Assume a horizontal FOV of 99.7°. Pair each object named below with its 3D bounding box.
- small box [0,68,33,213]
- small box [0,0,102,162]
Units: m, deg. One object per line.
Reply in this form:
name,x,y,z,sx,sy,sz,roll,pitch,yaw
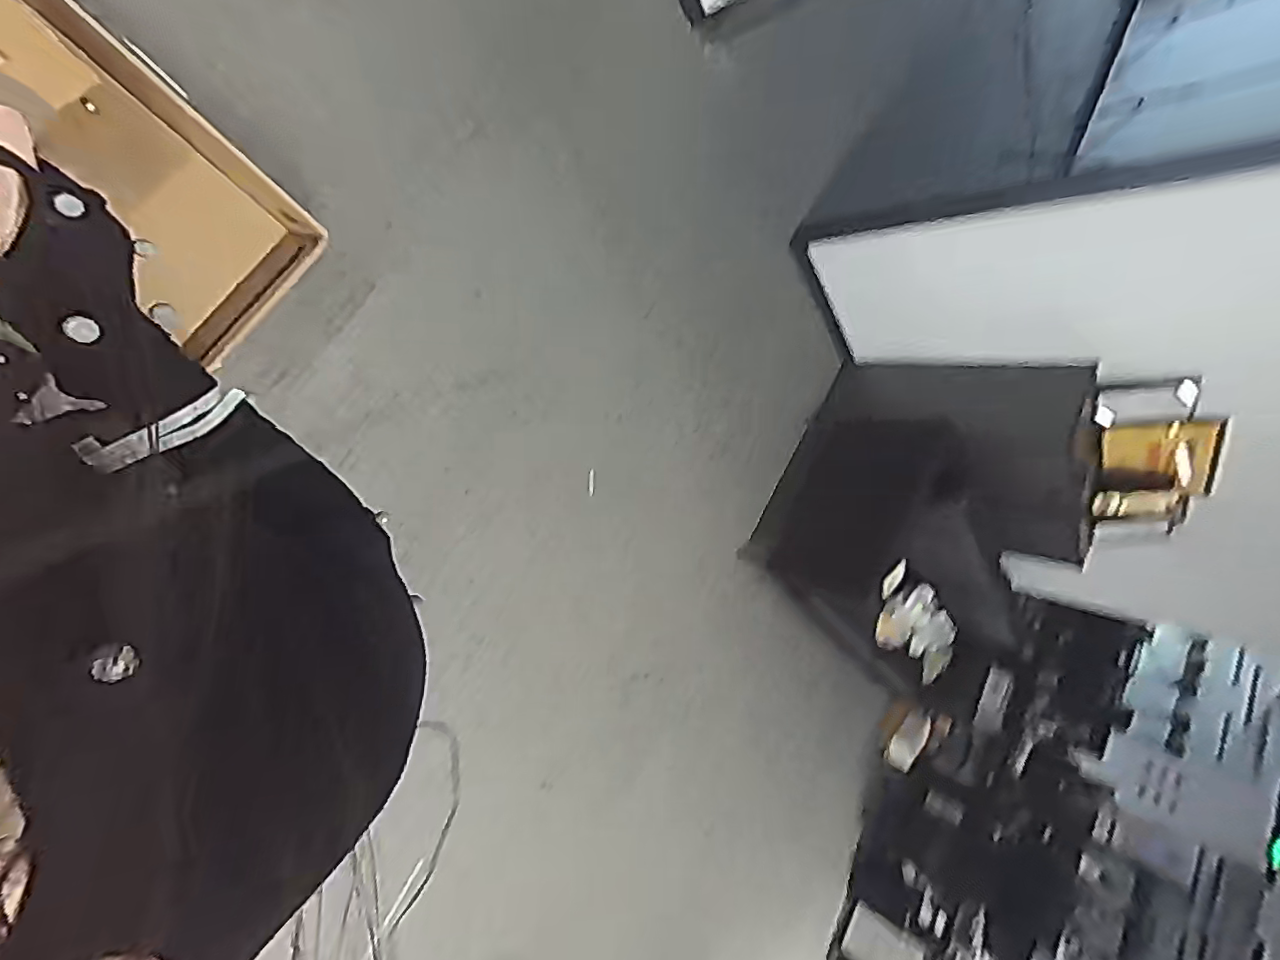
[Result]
small box,-0.516,-0.208,0.321,0.179,0.176,0.168,-45,147,8
small box,-0.983,-0.628,0.831,0.179,0.176,0.168,-56,132,-18
